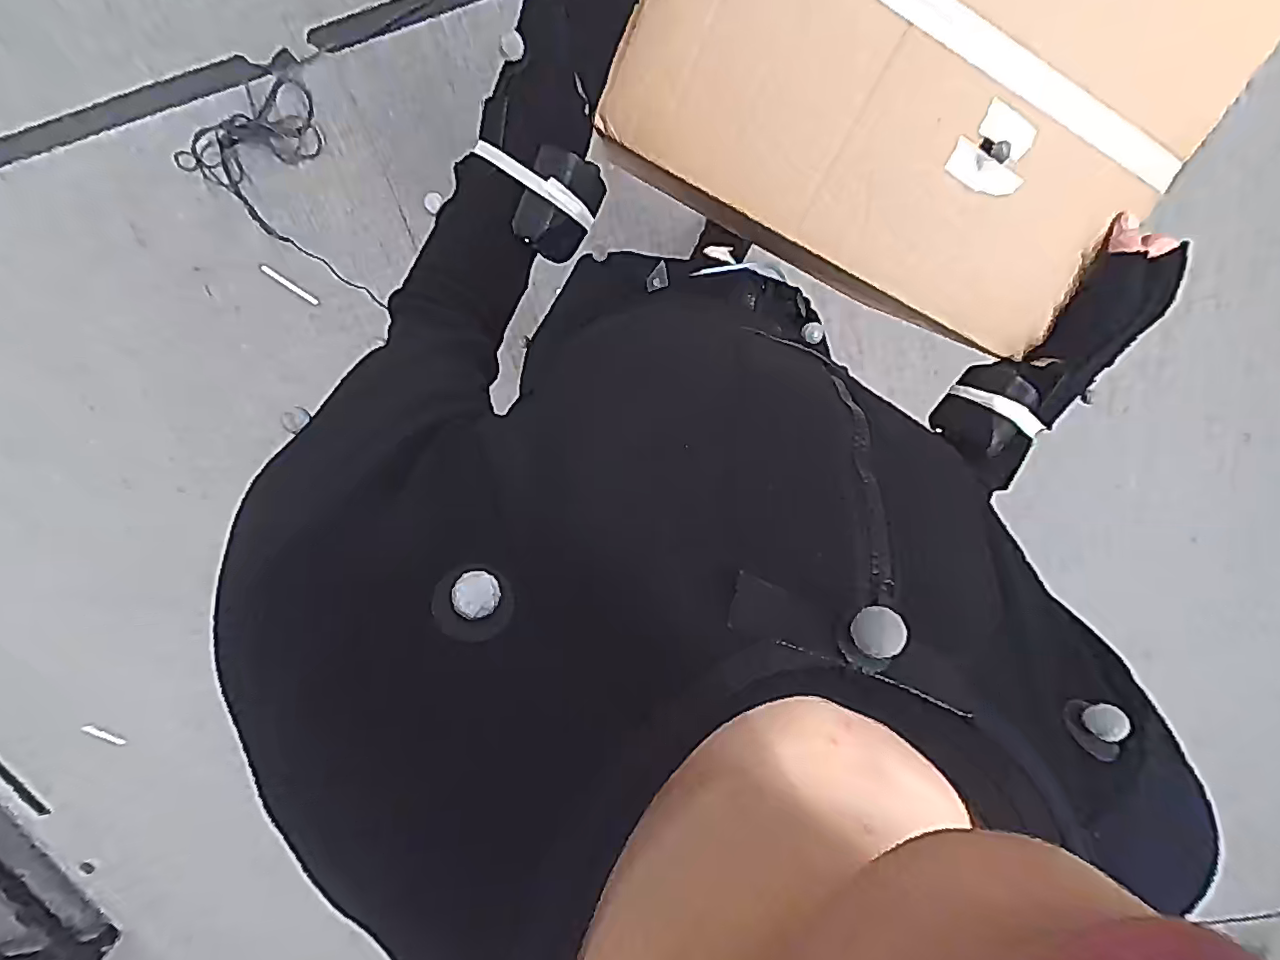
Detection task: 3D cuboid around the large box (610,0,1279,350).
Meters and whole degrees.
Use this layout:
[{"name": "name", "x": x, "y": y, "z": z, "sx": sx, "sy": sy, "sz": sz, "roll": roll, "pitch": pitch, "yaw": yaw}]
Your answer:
[{"name": "large box", "x": 0.211, "y": -0.374, "z": 0.506, "sx": 0.408, "sy": 0.320, "sz": 0.320, "roll": 22, "pitch": 115, "yaw": -14}]
